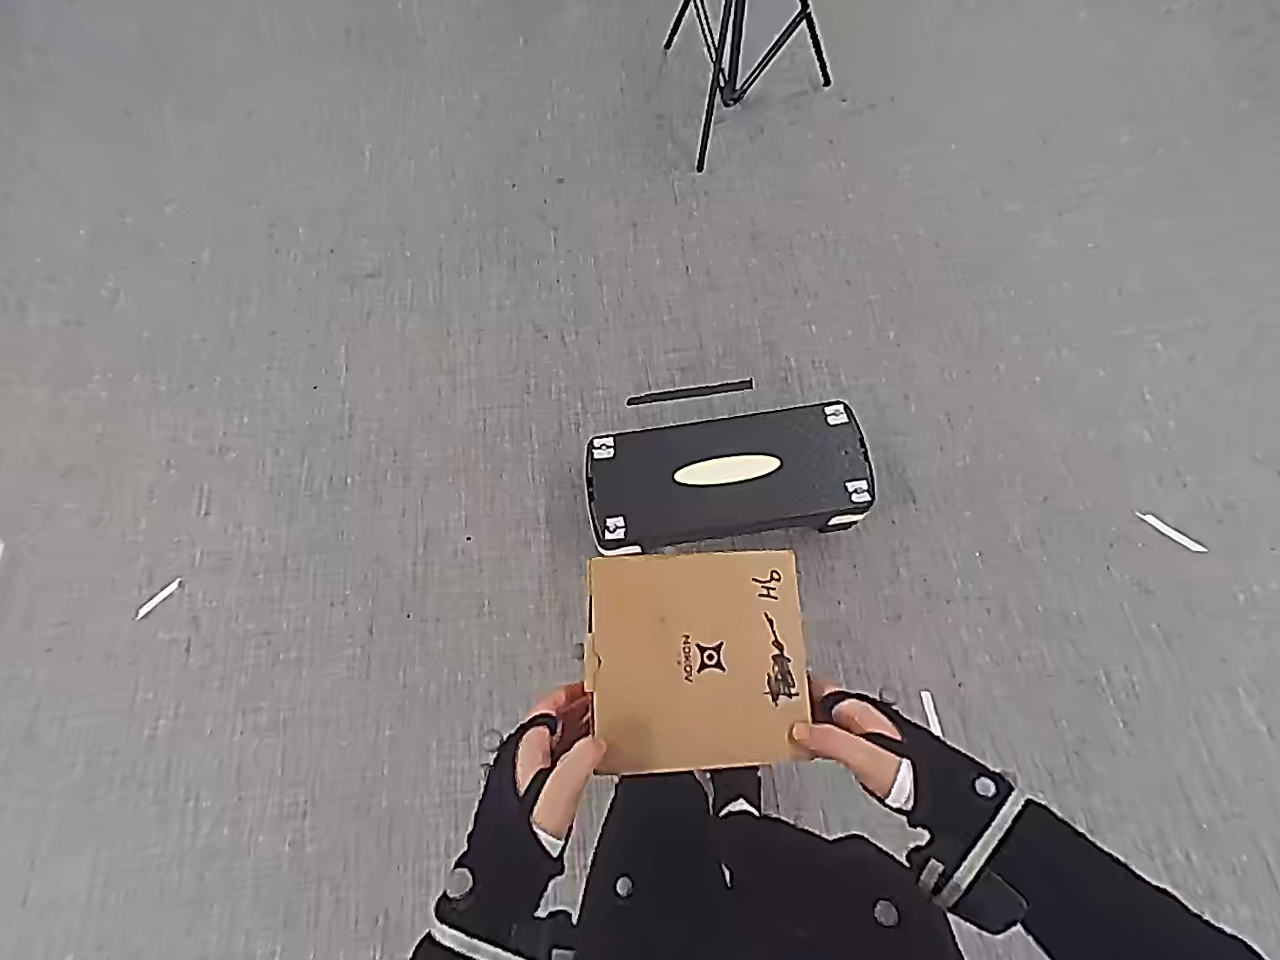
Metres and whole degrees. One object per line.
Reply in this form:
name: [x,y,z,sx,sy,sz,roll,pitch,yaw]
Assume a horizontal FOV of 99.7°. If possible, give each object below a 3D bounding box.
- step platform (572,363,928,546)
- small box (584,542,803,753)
step platform: [0.210,-0.034,1.146,0.684,0.204,0.286,-8,71,0]
small box: [0.038,0.153,0.523,0.179,0.176,0.168,-1,77,-5]
